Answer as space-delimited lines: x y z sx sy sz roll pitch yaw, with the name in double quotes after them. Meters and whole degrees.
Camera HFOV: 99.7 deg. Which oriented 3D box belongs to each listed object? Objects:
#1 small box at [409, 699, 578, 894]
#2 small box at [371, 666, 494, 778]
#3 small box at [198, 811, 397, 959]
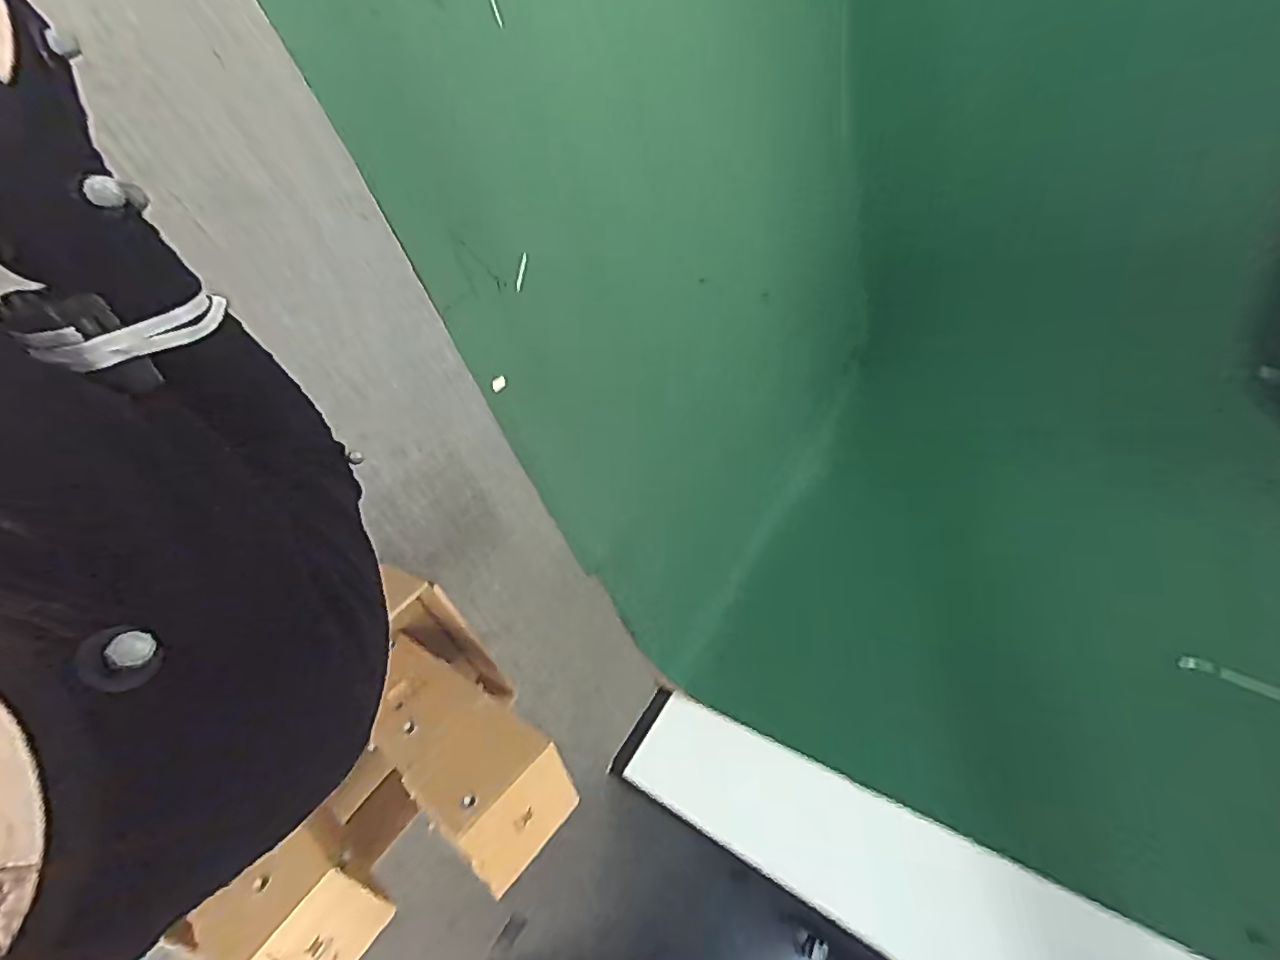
-0.233 0.494 0.870 0.179 0.176 0.168 -36 126 -35 "small box"
-0.349 0.466 0.981 0.168 0.176 0.179 -40 128 -34 "small box"
-0.521 0.648 0.825 0.168 0.176 0.179 -45 131 -32 "small box"
